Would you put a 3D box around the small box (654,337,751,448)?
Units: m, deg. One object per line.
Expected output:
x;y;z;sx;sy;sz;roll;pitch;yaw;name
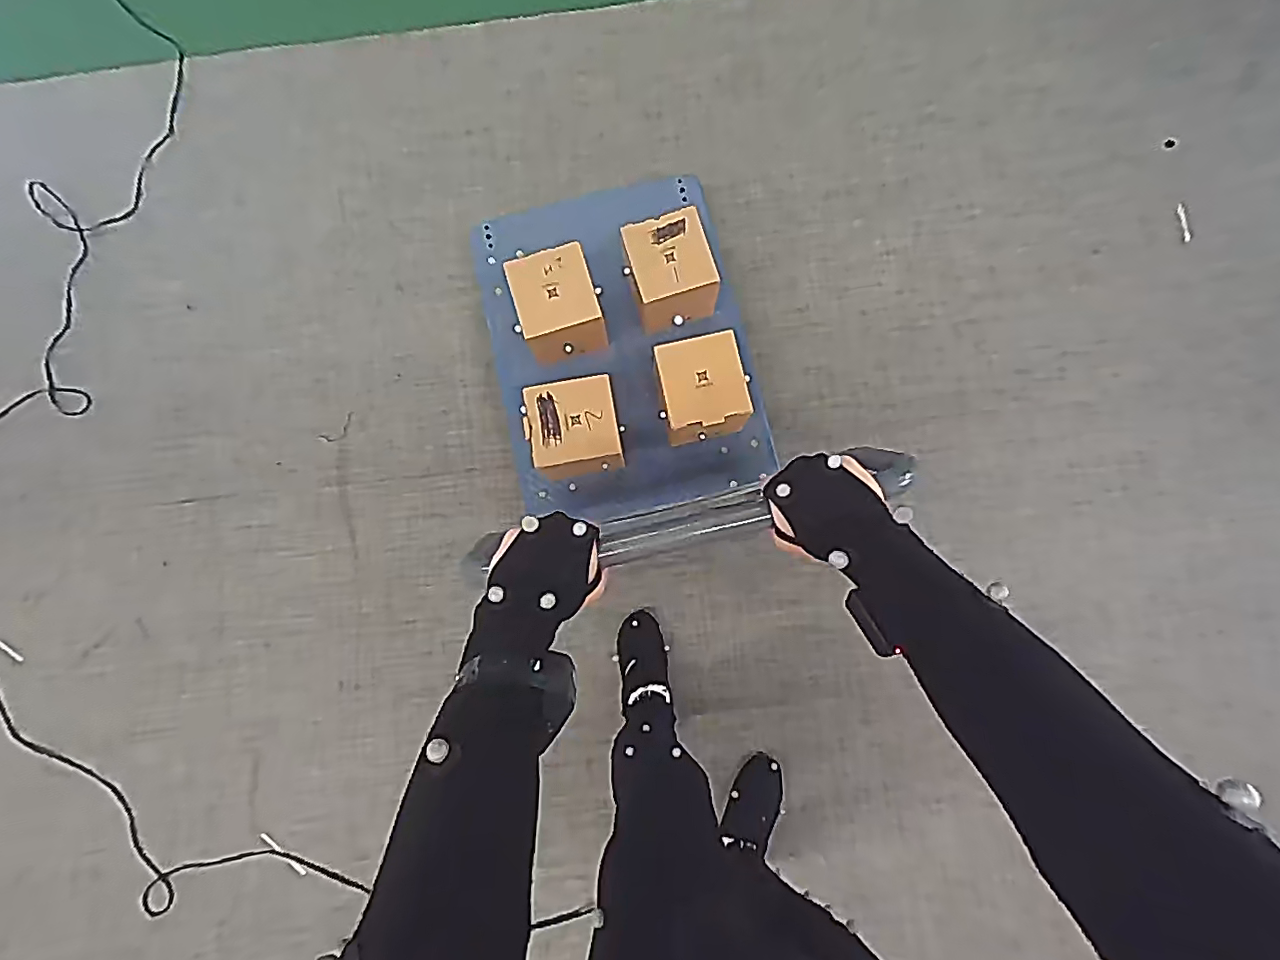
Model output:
0.127;-0.183;1.172;0.168;0.176;0.179;-13;83;-1;small box

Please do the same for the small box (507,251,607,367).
-0.177;-0.368;1.203;0.168;0.176;0.179;-17;82;-2;small box

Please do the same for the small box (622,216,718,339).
0.063;-0.444;1.208;0.168;0.176;0.179;-17;83;0;small box
